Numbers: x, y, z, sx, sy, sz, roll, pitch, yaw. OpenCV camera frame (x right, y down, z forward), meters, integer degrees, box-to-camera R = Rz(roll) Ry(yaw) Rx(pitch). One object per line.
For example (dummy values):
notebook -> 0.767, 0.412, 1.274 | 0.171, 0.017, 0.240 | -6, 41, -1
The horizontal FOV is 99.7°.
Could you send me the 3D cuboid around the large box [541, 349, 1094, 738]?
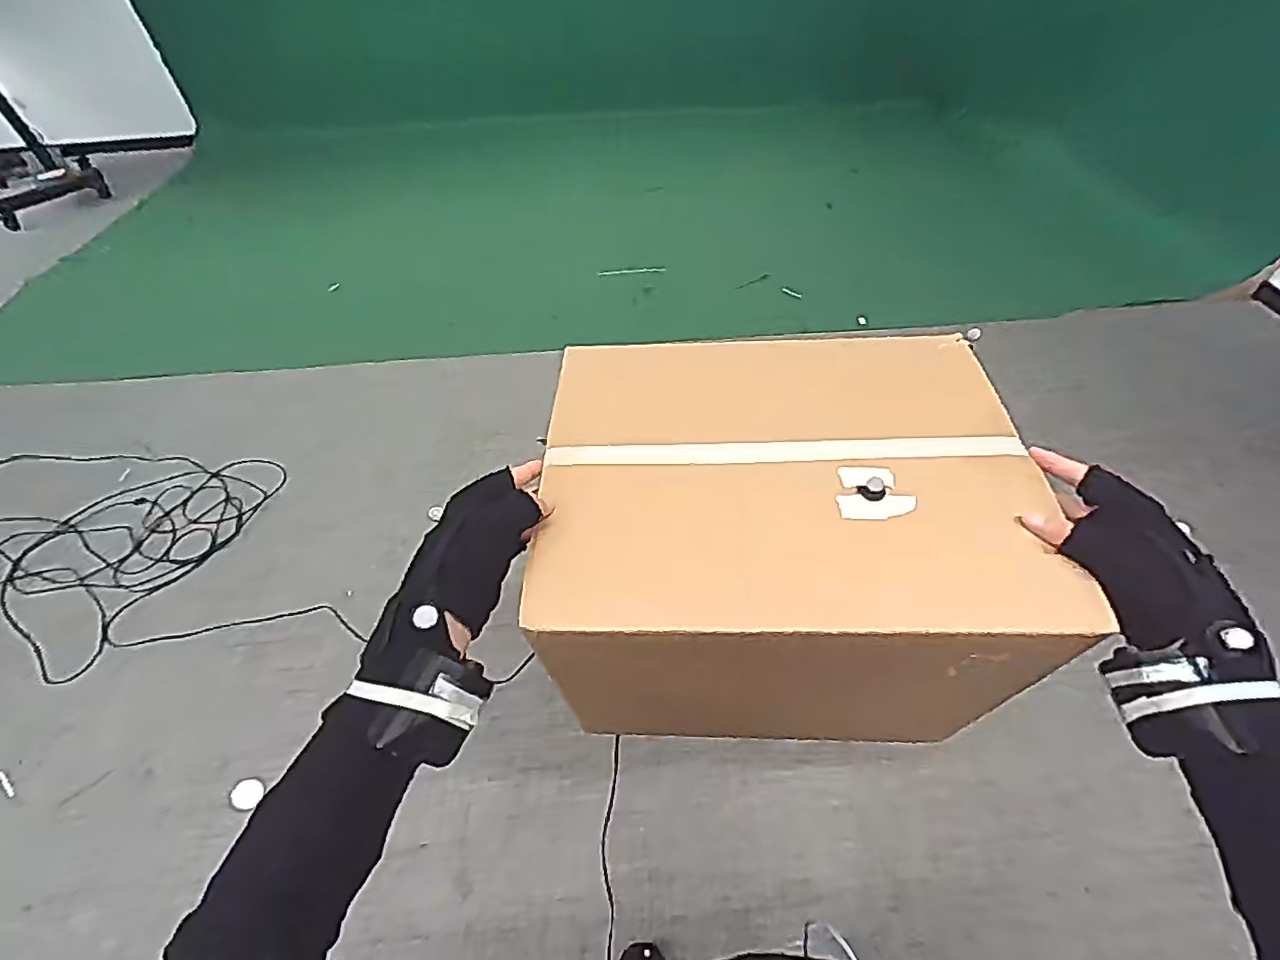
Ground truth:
large box -> 0.130, 0.079, 0.594 | 0.408, 0.320, 0.320 | -1, 52, 3
